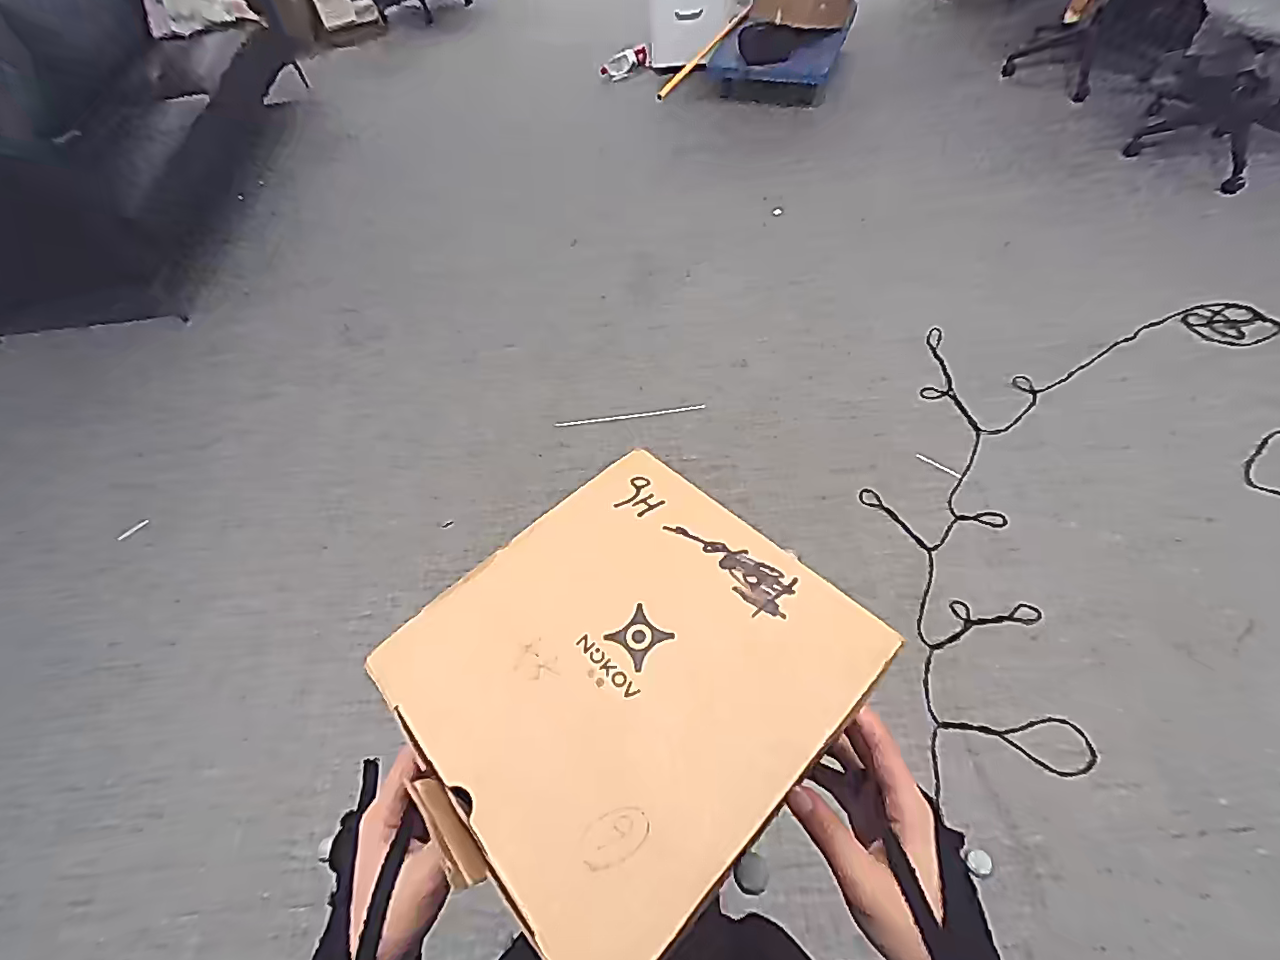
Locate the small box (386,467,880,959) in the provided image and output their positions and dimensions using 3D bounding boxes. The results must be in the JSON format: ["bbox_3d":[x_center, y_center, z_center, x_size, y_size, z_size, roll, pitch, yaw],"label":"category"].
[{"bbox_3d":[0.002,0.133,0.310,0.179,0.176,0.168,-39,56,-22],"label":"small box"}]
